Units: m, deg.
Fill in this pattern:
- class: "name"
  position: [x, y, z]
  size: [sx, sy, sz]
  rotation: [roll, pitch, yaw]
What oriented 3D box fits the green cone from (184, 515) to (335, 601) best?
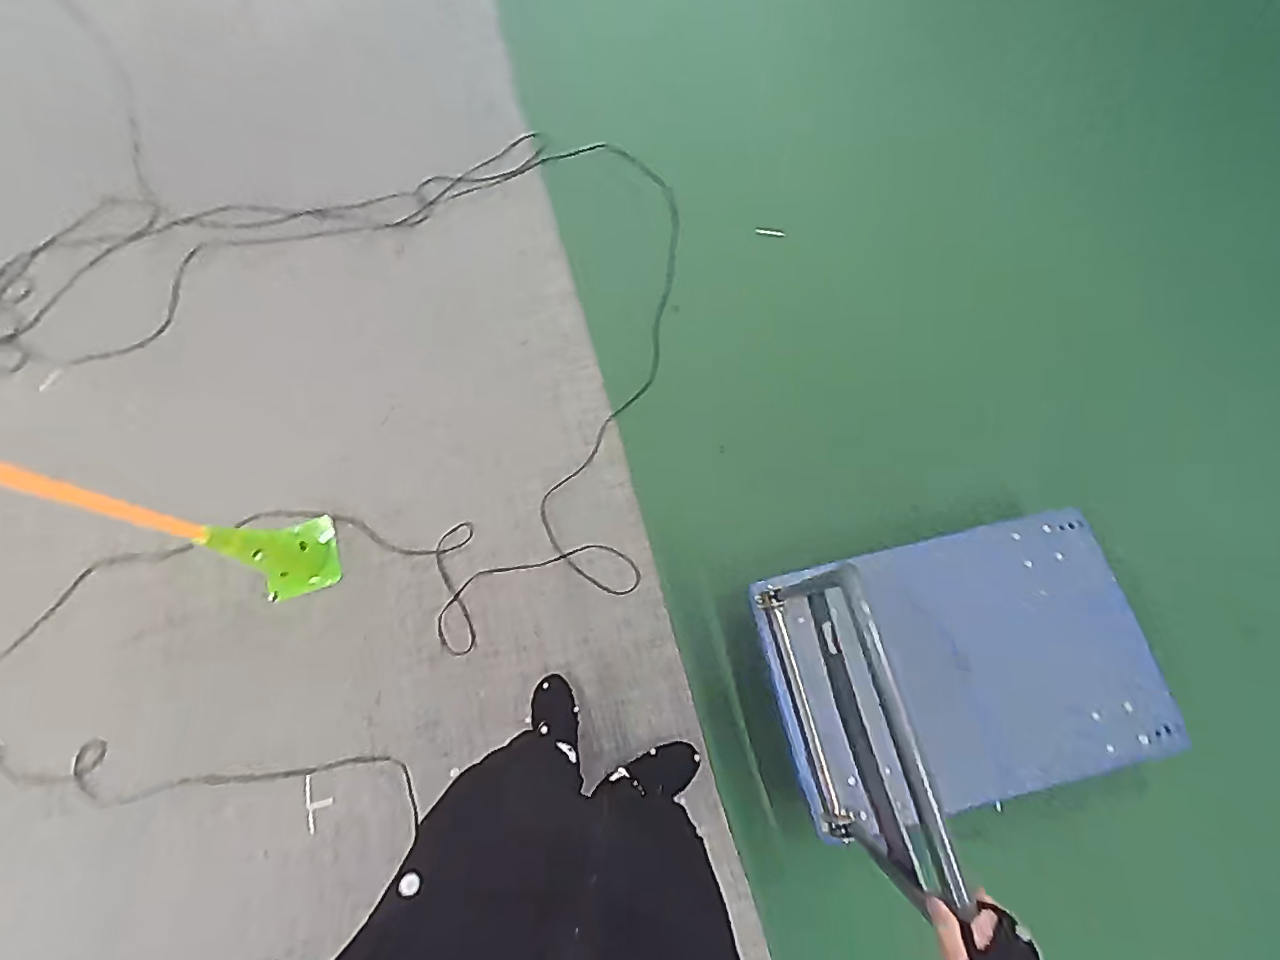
- class: "green cone"
  position: [-0.957, 0.161, 1.337]
  size: [0.200, 0.368, 0.202]
  rotation: [-18, 72, -5]
